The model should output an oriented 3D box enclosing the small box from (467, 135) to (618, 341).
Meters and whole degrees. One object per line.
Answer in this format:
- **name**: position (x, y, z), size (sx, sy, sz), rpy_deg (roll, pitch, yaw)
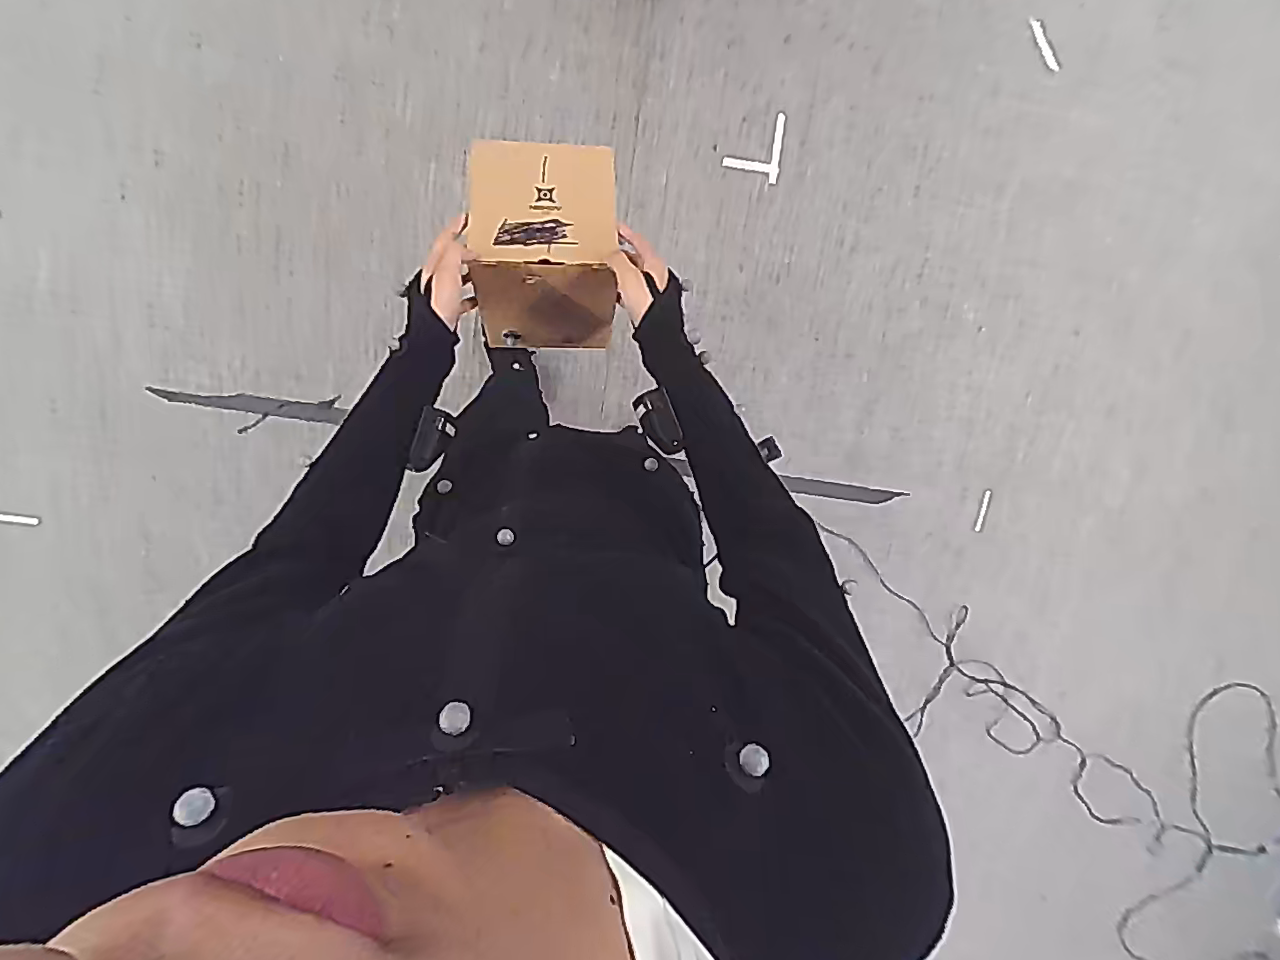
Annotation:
- **small box**: position (-0.115, -0.291, 0.681), size (0.168, 0.176, 0.179), rpy_deg (-1, 71, -7)
